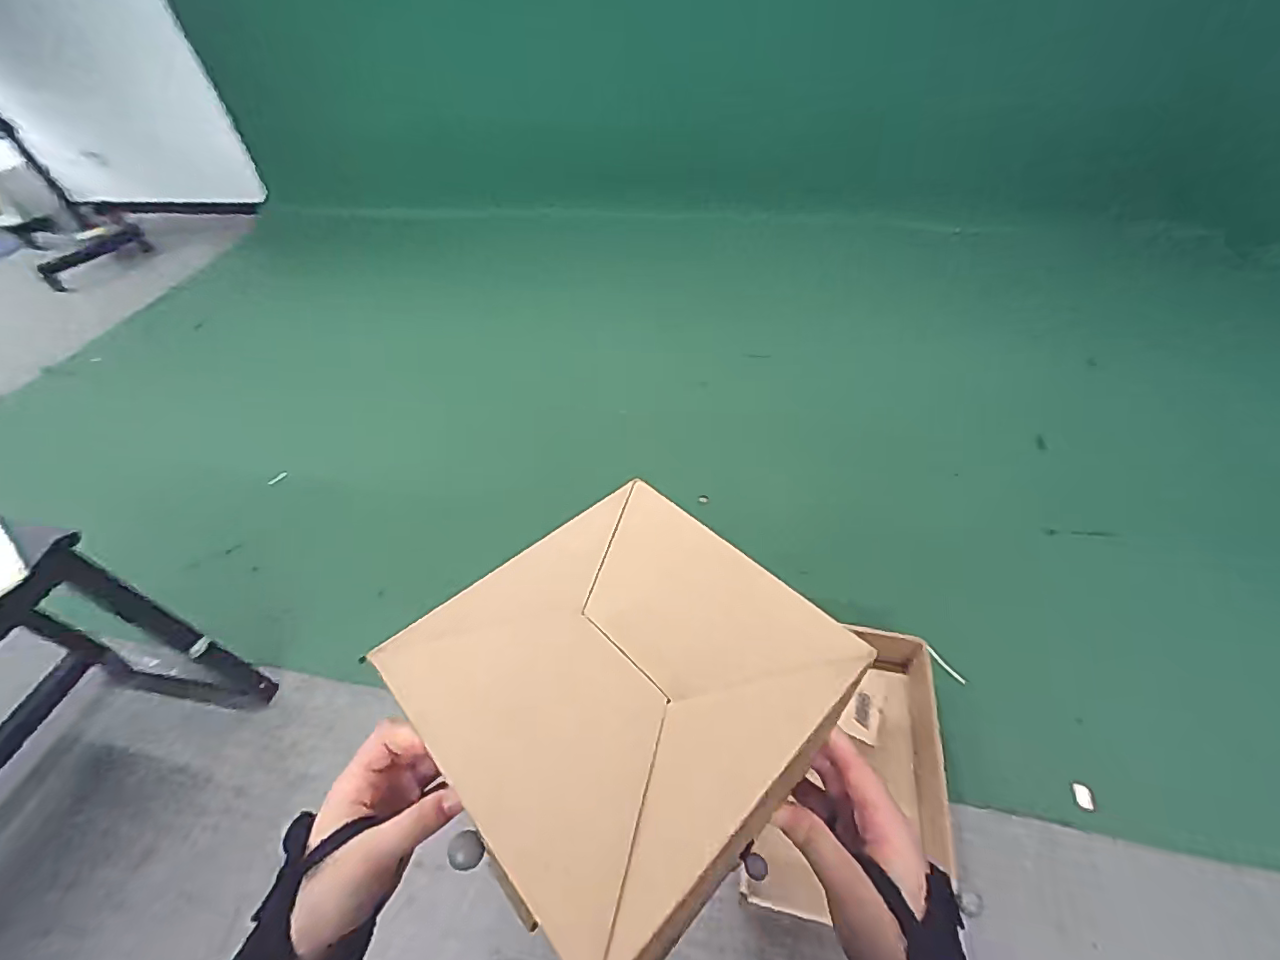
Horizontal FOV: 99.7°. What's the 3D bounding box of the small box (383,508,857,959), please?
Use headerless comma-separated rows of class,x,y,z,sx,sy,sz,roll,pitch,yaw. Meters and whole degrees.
small box,-0.006,0.140,0.307,0.179,0.176,0.168,-34,53,-31

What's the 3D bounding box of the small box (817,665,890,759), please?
small box,0.468,0.542,1.294,0.179,0.176,0.168,20,54,20
